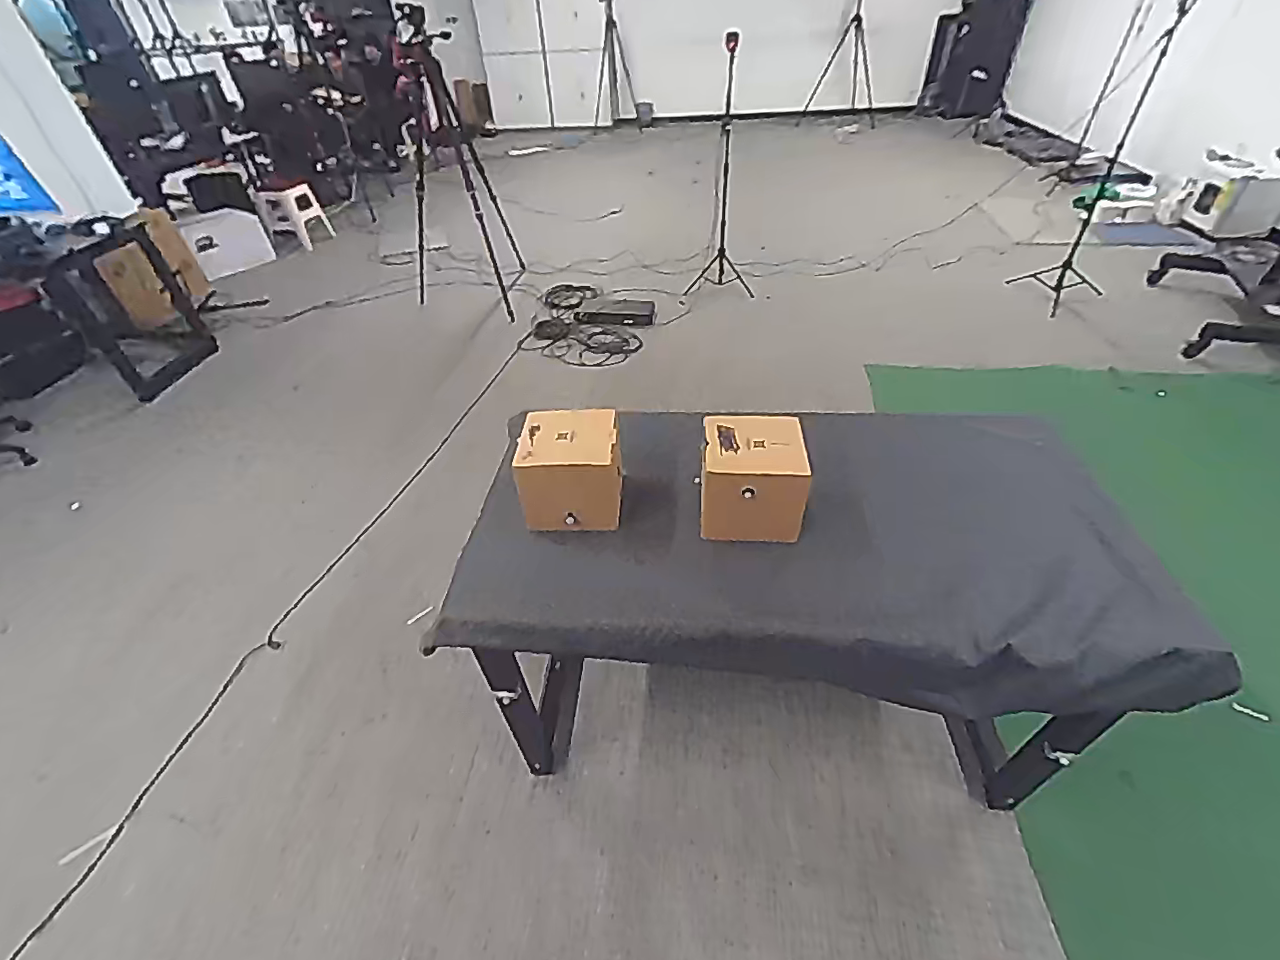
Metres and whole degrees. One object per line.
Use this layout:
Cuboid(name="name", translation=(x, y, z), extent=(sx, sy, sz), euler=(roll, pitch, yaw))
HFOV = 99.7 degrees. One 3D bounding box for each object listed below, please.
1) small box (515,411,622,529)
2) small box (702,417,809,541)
Cuboid(name="small box", translation=(-0.127, -0.017, 1.047), extent=(0.179, 0.176, 0.168), euler=(0, 42, 3))
Cuboid(name="small box", translation=(0.205, -0.001, 1.007), extent=(0.179, 0.176, 0.168), euler=(2, 42, 5))
